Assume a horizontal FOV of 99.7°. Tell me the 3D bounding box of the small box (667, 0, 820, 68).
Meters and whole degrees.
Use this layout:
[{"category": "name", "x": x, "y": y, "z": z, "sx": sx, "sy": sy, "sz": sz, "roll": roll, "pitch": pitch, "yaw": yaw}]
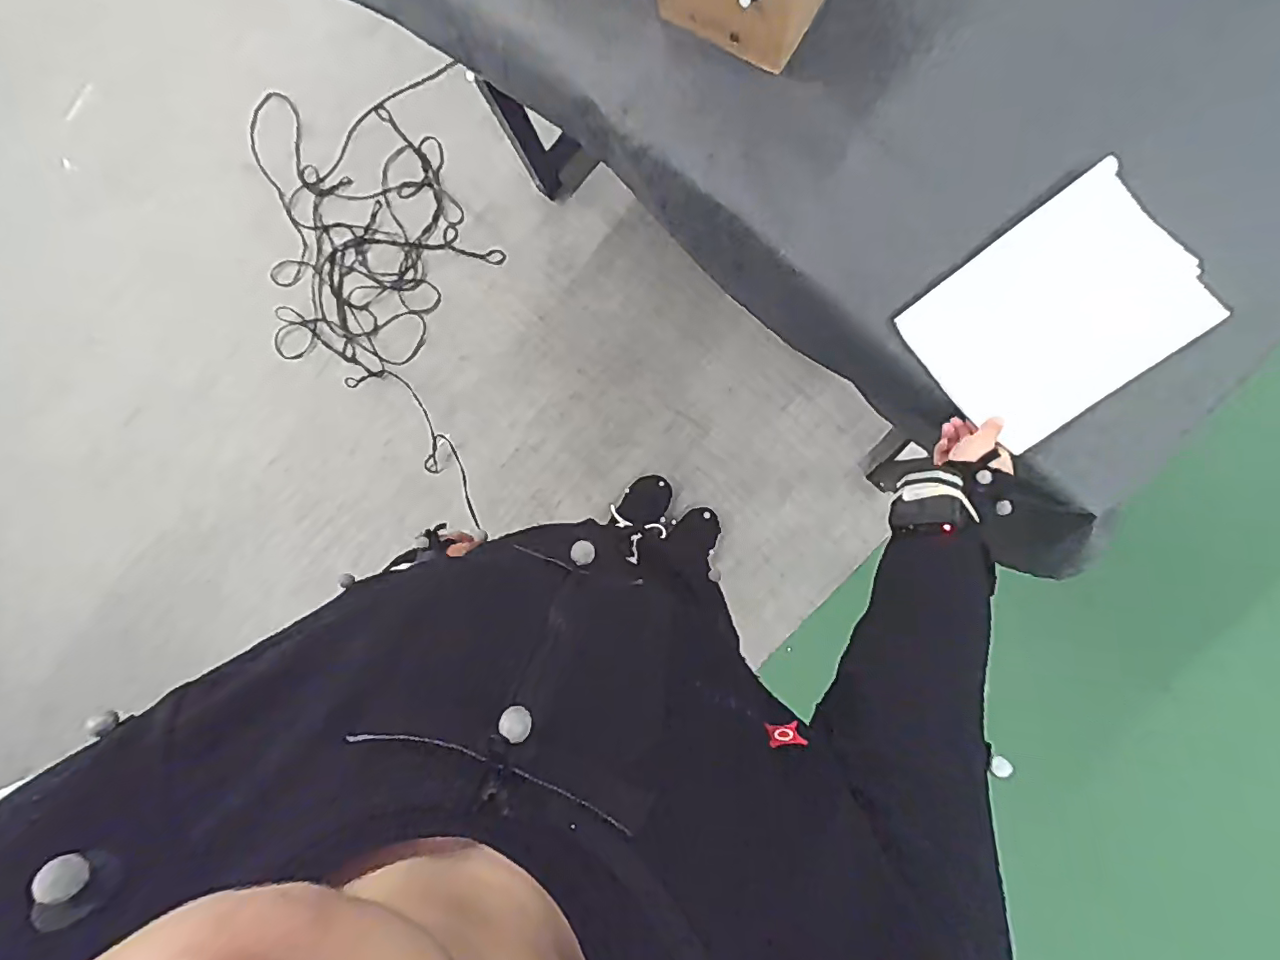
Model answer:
[{"category": "small box", "x": 0.124, "y": -0.583, "z": 0.551, "sx": 0.168, "sy": 0.176, "sz": 0.179, "roll": 32, "pitch": 92, "yaw": 5}]
